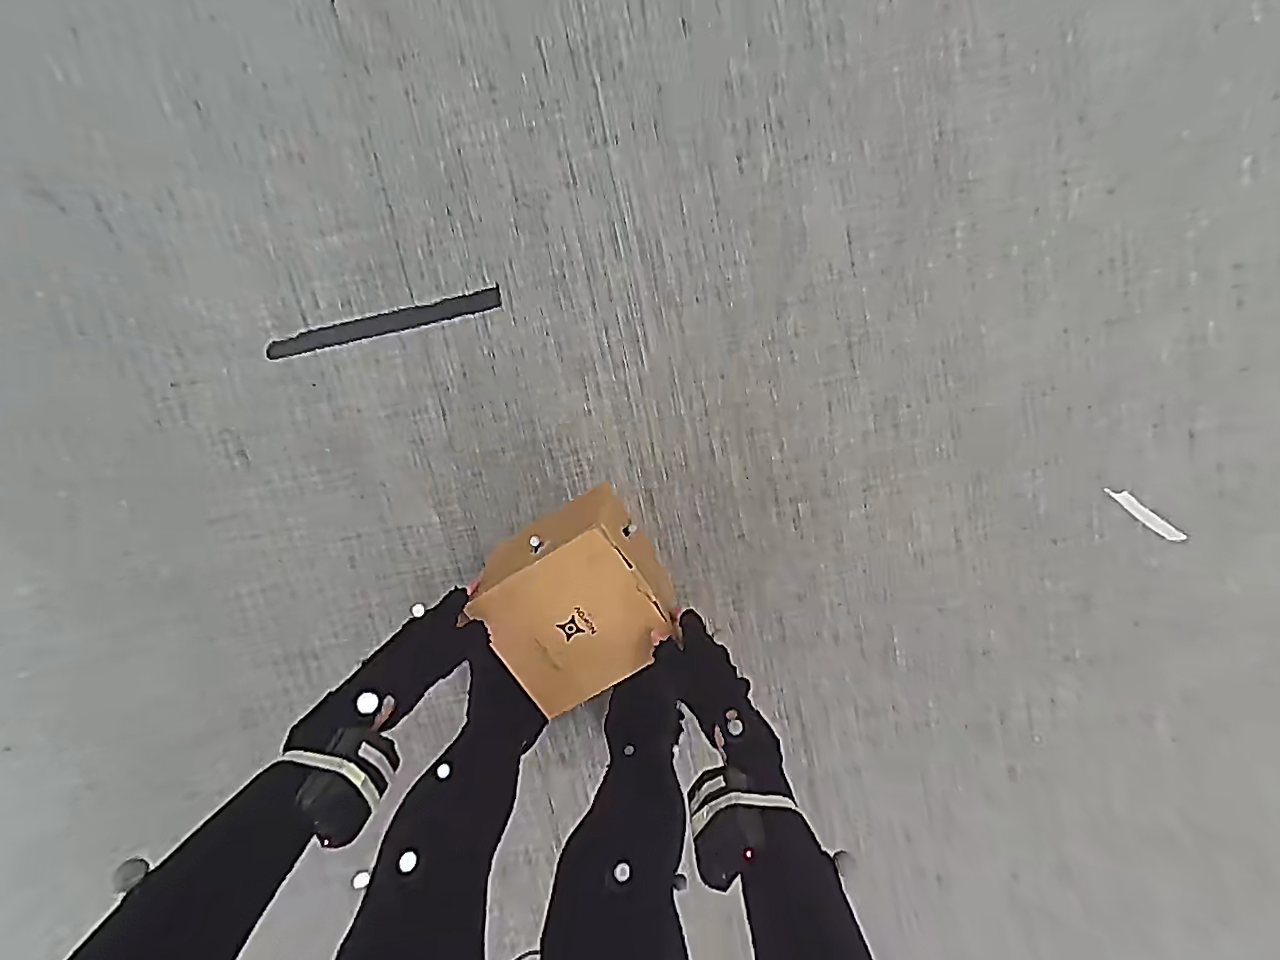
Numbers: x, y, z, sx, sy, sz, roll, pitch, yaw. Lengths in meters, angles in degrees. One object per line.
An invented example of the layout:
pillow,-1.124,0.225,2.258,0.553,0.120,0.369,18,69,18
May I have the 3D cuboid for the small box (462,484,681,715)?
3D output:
small box,-0.073,0.127,0.638,0.179,0.176,0.168,-32,103,7
